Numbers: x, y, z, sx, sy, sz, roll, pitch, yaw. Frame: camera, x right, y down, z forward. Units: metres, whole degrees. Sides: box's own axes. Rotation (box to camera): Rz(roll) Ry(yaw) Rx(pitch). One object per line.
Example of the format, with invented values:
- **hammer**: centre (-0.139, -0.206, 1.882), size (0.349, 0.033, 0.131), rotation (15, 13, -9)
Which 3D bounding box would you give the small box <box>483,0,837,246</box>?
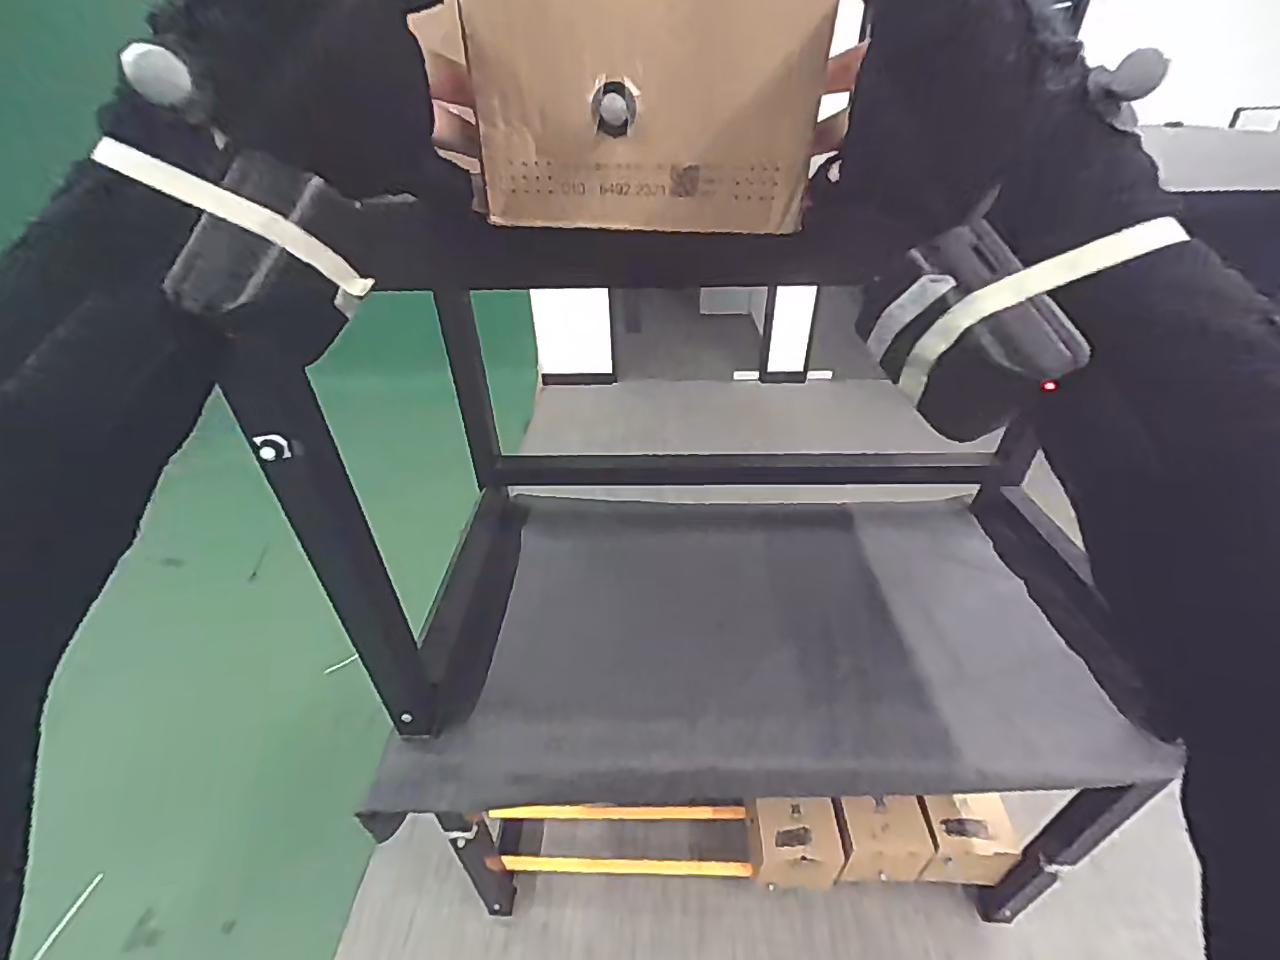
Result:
- **small box**: centre (0.009, -0.250, 0.316), size (0.168, 0.176, 0.179), rotation (2, 38, 1)
